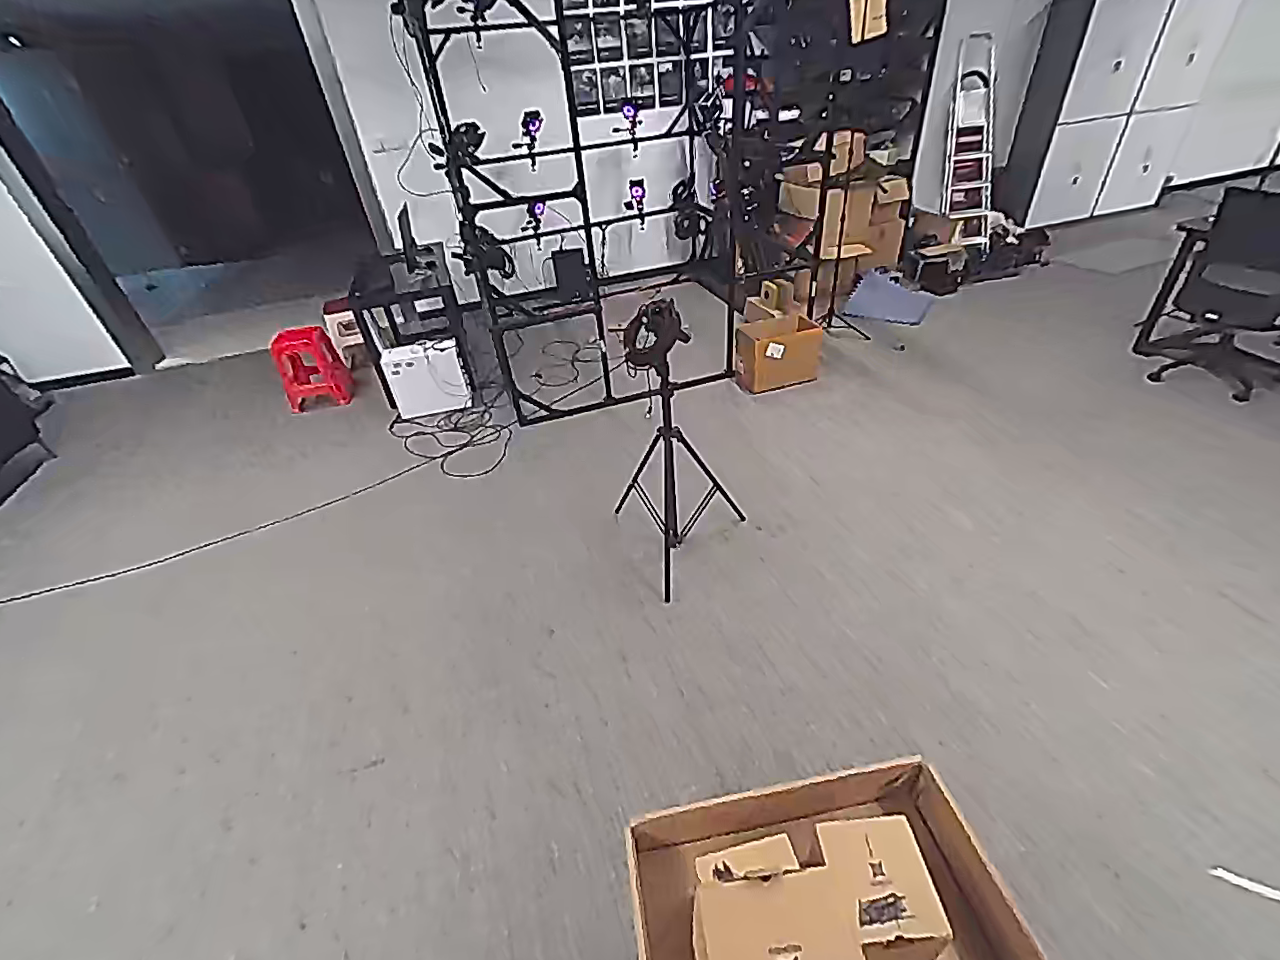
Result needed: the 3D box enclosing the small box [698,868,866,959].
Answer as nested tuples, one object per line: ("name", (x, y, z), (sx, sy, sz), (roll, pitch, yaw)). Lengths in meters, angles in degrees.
("small box", (0.159, 0.580, 0.604), (0.168, 0.176, 0.179), (-5, 31, -4))
